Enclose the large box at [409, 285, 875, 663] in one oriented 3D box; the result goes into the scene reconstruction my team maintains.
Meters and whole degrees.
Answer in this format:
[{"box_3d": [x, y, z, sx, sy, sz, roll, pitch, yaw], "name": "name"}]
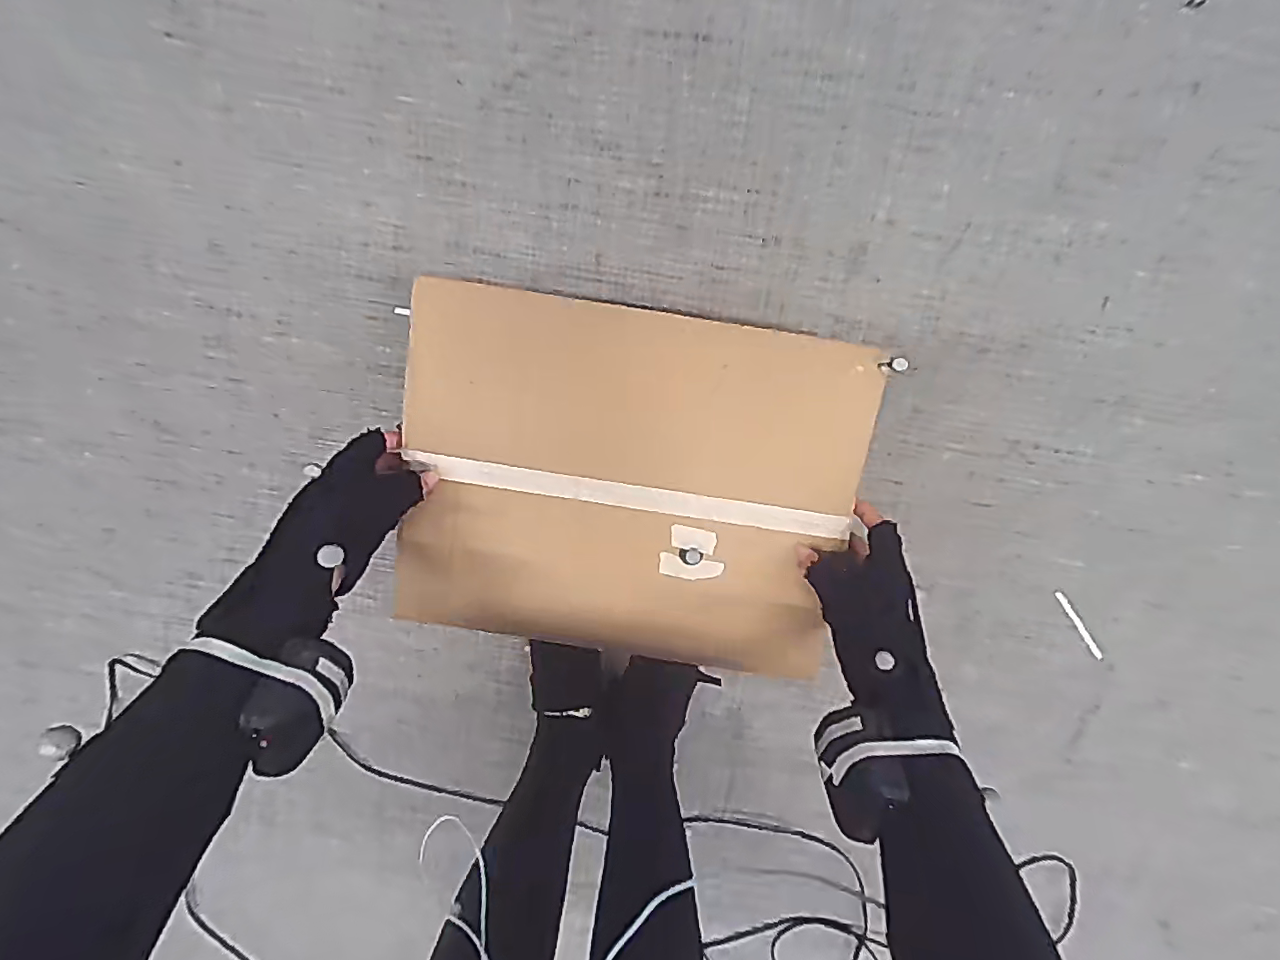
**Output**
[{"box_3d": [-0.009, -0.023, 0.647, 0.408, 0.320, 0.320, 9, 102, -1], "name": "large box"}]
